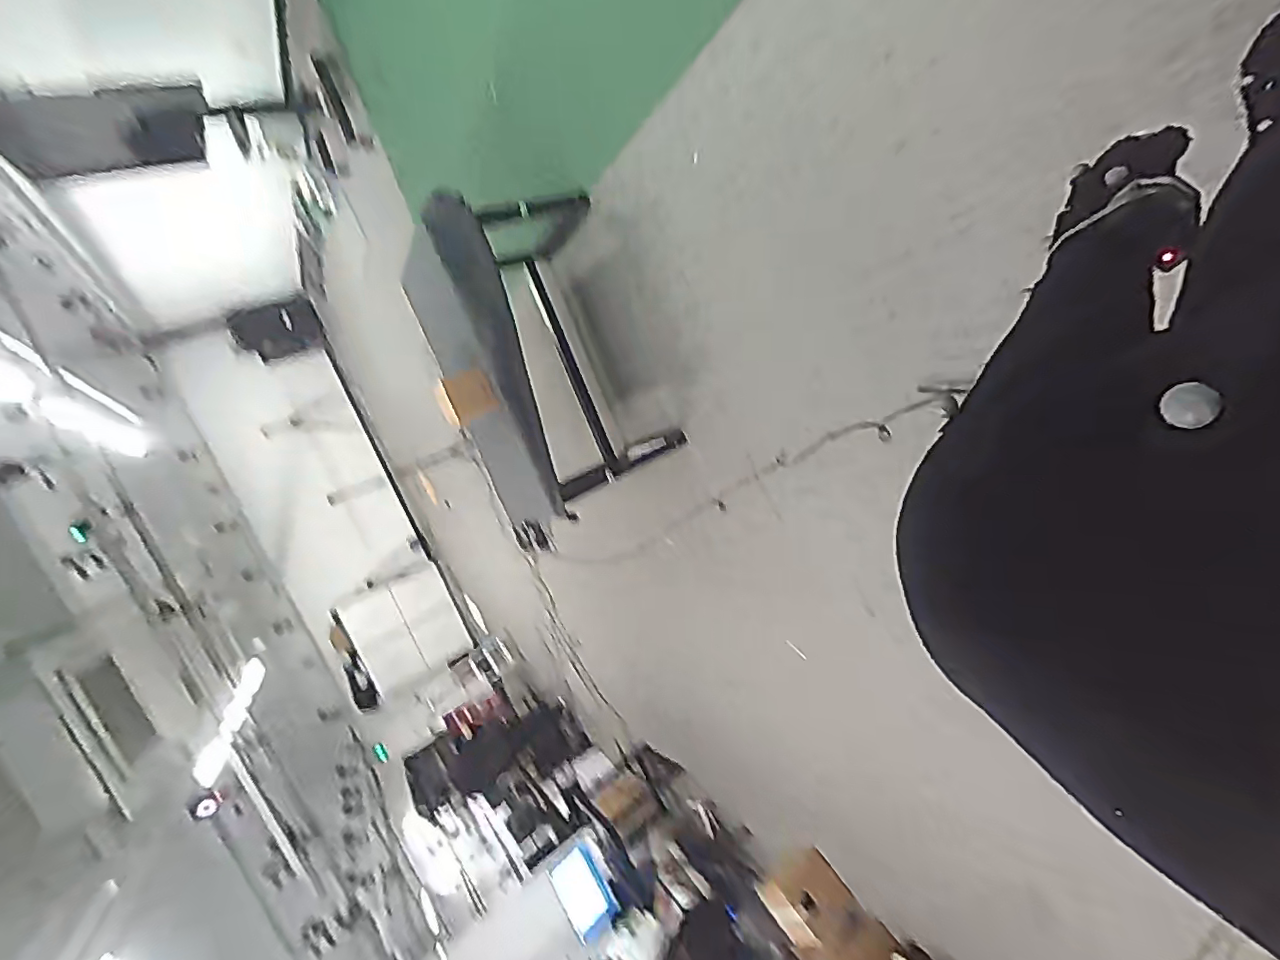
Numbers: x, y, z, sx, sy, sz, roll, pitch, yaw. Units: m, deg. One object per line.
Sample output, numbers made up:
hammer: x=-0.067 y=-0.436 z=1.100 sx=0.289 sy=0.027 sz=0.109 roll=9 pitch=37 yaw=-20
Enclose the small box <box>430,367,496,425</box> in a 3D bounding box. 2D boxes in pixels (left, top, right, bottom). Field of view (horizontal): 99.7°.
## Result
small box: x=-0.694 y=-0.333 z=2.120 sx=0.168 sy=0.176 sz=0.179 roll=-4 pitch=110 yaw=59
